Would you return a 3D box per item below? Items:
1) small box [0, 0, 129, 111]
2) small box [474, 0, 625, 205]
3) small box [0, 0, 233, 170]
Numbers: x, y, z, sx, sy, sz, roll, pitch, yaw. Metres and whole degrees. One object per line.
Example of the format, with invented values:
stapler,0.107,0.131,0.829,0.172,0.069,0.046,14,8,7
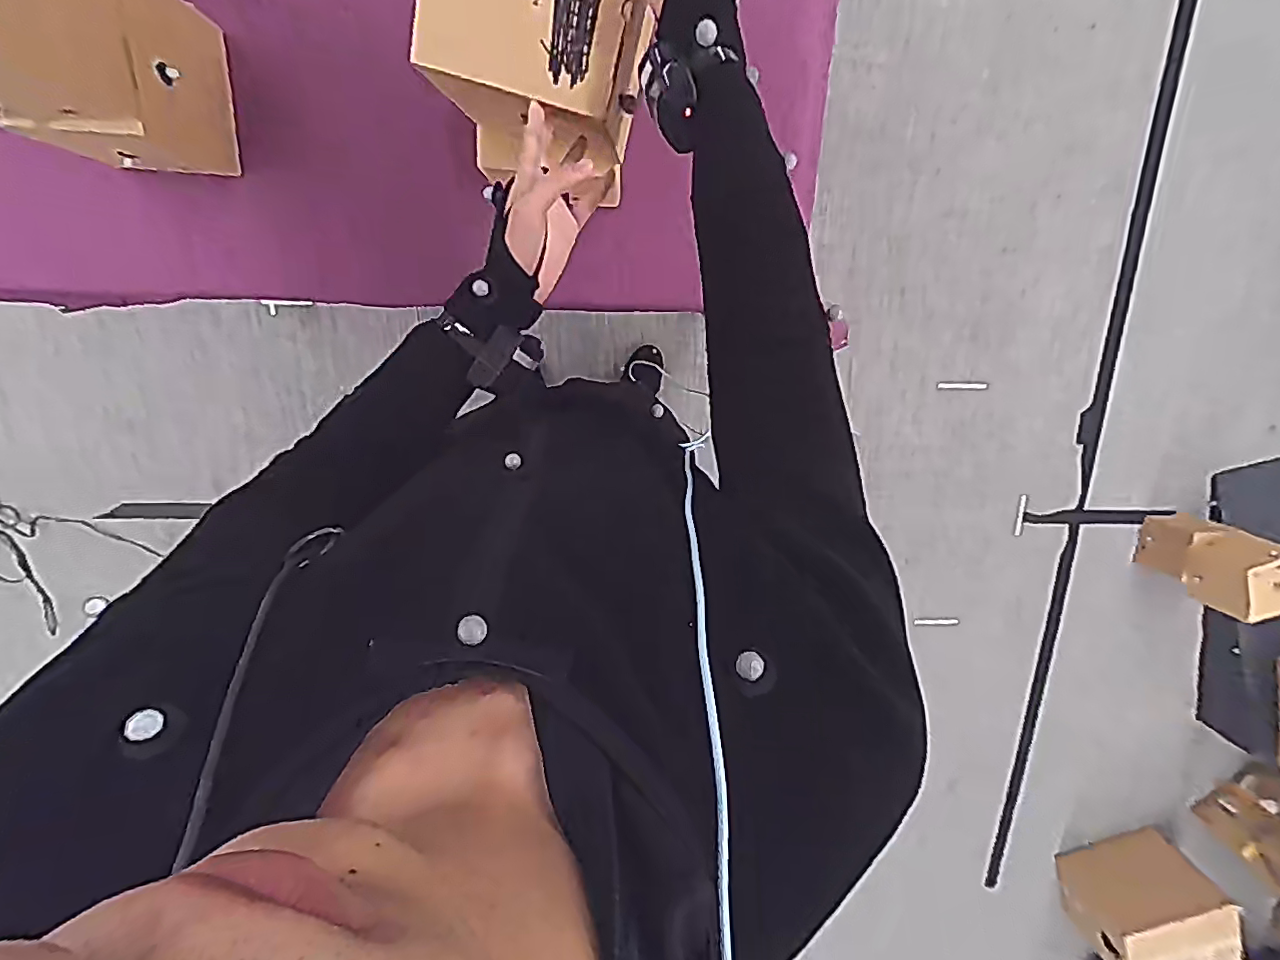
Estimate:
small box,-0.618,-0.455,0.480,0.168,0.176,0.179,-2,105,-3
small box,-0.105,-0.462,0.683,0.168,0.176,0.179,2,105,-3
small box,-0.624,-0.488,0.642,0.168,0.176,0.179,3,106,-5
